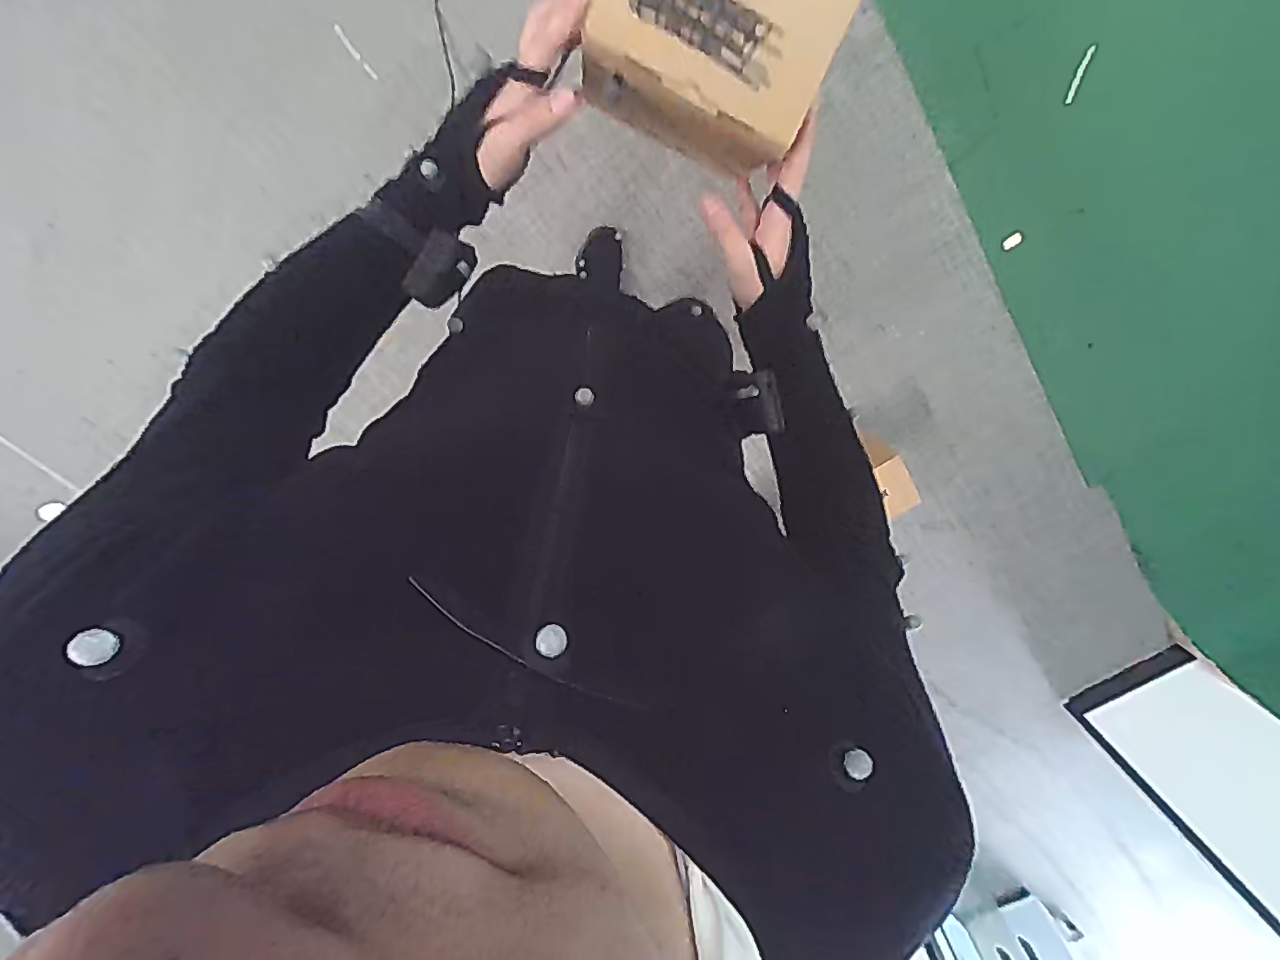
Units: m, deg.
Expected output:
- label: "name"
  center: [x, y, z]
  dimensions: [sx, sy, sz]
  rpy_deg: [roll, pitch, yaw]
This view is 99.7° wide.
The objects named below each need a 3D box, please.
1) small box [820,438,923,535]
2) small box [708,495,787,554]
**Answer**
- label: "small box"
  center: [0.625, 0.010, 1.475]
  dimensions: [0.179, 0.176, 0.168]
  rpy_deg: [-31, 112, 12]
- label: "small box"
  center: [0.336, 0.178, 1.722]
  dimensions: [0.179, 0.176, 0.168]
  rpy_deg: [-34, 112, 13]
